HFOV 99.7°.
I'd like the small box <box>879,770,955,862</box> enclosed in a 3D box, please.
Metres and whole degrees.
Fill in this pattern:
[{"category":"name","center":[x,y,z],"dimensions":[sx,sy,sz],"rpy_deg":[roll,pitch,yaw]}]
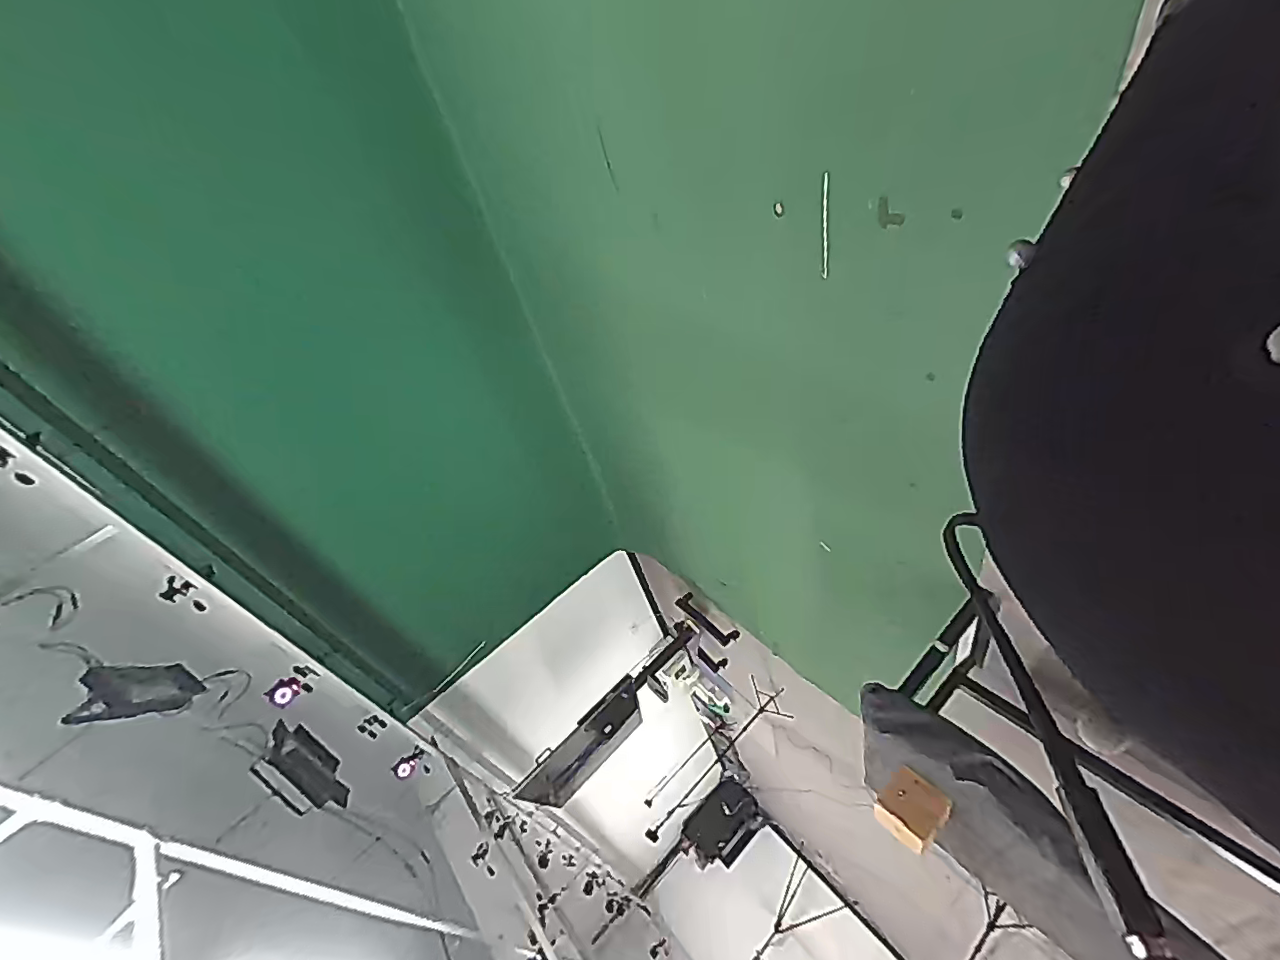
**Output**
[{"category":"small box","center":[0.906,1.092,1.769],"dimensions":[0.168,0.176,0.179],"rpy_deg":[31,154,45]}]
